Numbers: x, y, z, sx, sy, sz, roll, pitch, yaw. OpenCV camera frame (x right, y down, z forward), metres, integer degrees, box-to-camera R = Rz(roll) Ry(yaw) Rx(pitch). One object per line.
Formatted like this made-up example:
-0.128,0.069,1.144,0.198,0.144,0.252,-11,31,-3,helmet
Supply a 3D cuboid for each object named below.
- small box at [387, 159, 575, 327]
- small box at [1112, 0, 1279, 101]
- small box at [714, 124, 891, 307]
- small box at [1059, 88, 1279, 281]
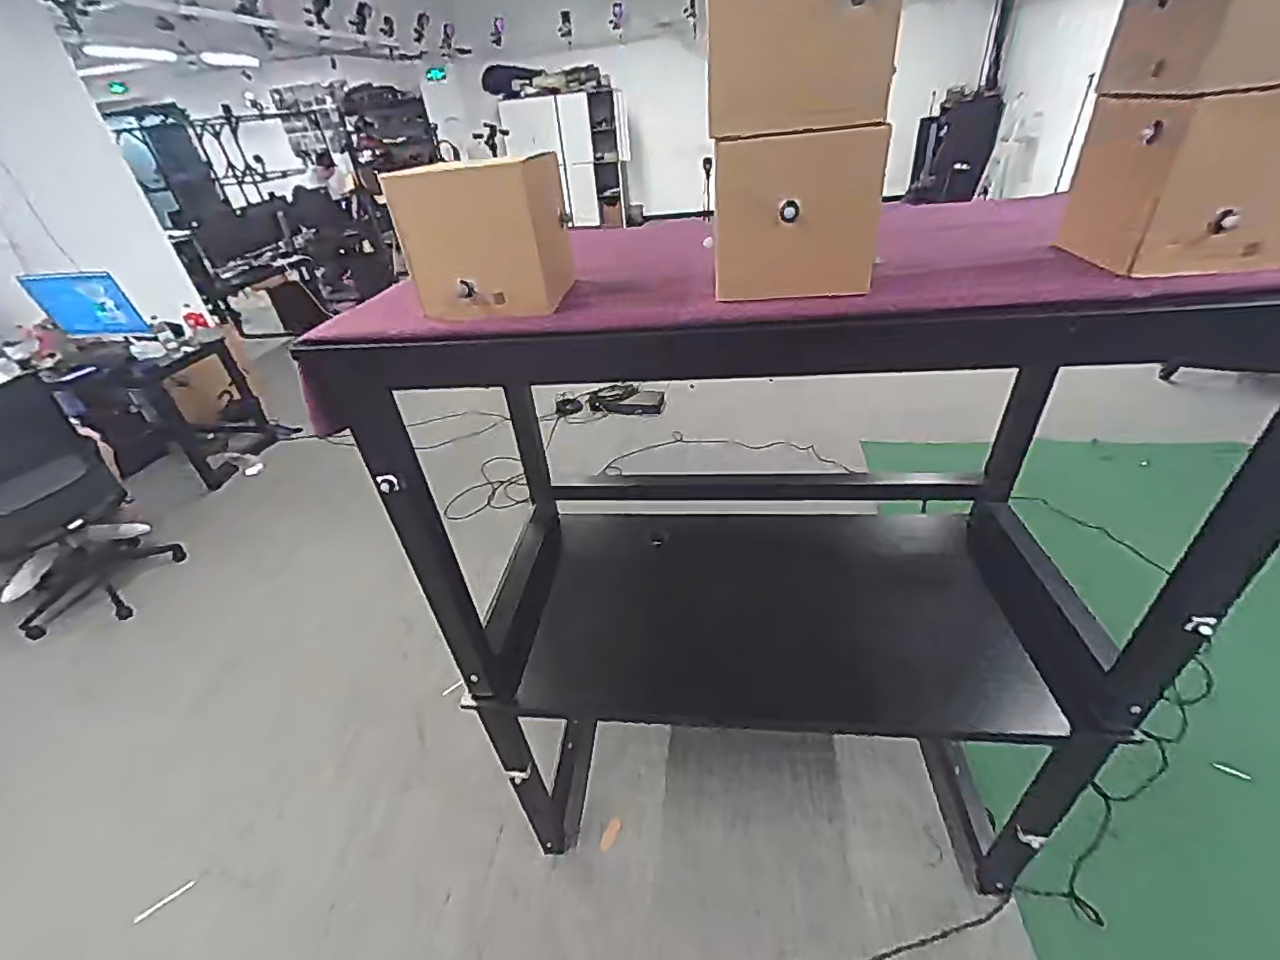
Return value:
-0.185,-0.305,0.696,0.168,0.176,0.179,-2,34,8,small box
0.584,-0.457,0.494,0.179,0.176,0.168,-1,36,10,small box
0.181,-0.317,0.651,0.179,0.176,0.168,-1,33,10,small box
0.608,-0.327,0.592,0.168,0.176,0.179,-1,36,10,small box
